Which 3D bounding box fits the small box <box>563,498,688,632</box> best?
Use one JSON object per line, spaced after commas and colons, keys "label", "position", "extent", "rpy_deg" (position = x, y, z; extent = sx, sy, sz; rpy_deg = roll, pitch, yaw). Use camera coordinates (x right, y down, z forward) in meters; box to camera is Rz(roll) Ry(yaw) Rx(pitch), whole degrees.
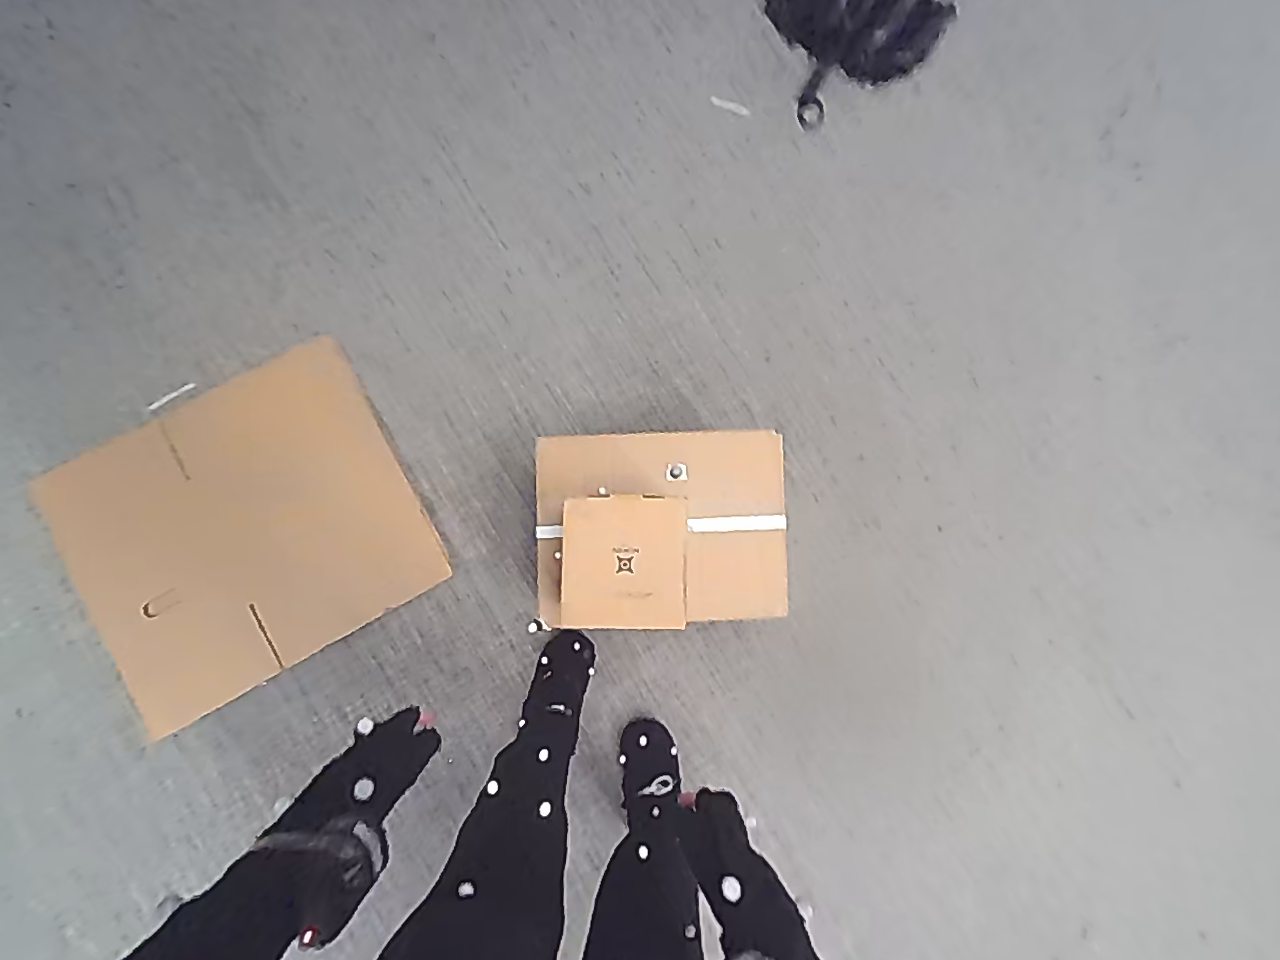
{"label": "small box", "position": [-0.020, 0.119, 0.794], "extent": [0.168, 0.176, 0.179], "rpy_deg": [0, 86, 0]}
